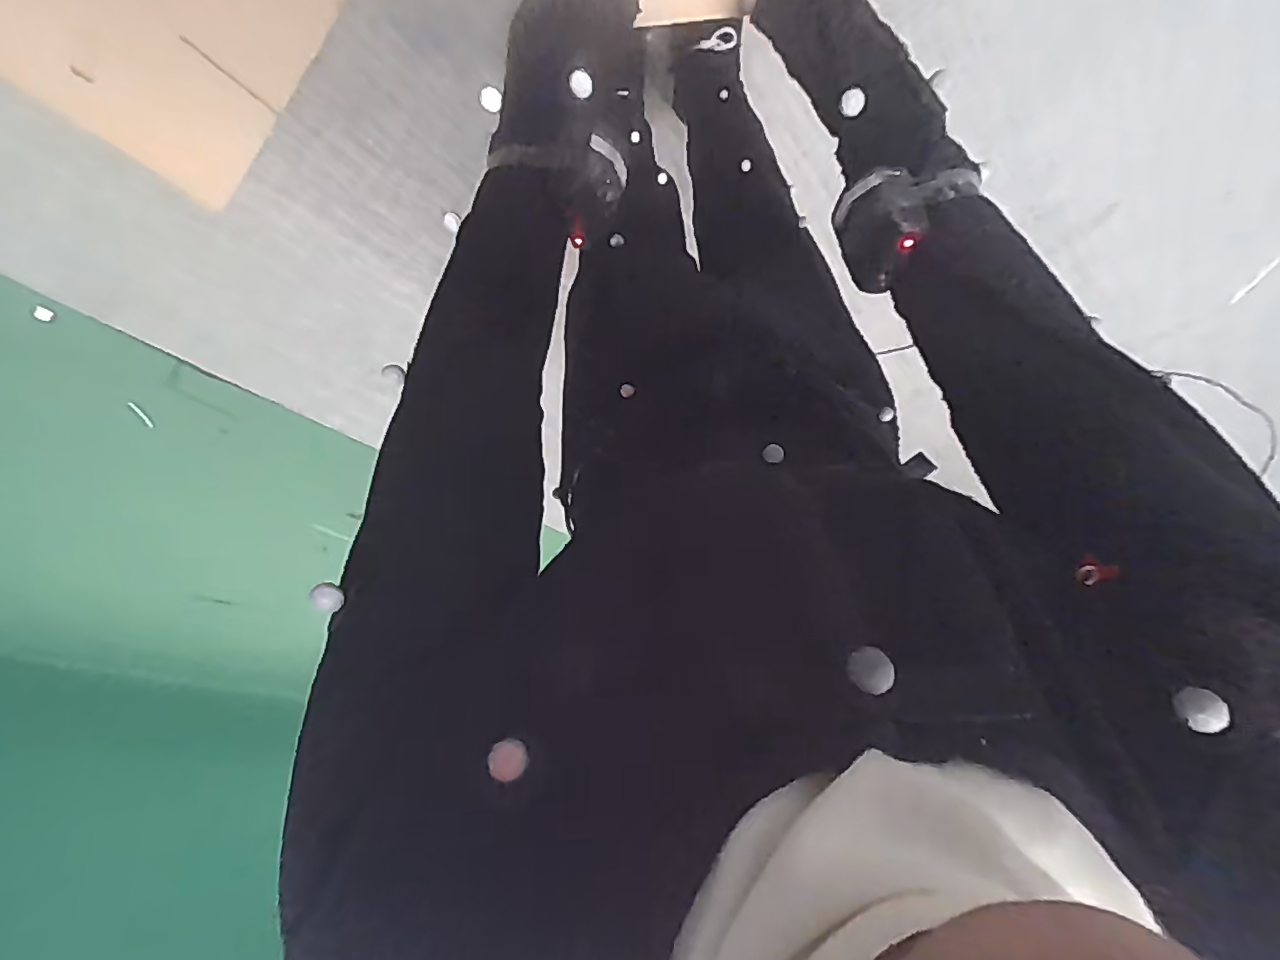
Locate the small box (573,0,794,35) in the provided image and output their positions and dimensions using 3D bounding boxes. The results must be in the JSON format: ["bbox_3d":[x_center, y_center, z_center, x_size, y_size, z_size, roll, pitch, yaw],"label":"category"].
[{"bbox_3d":[0.026,-0.473,0.408,0.179,0.176,0.168,-7,143,4],"label":"small box"}]

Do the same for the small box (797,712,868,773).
[{"bbox_3d":[0.694,0.950,1.957,0.168,0.176,0.179,-32,134,33],"label":"small box"}]
